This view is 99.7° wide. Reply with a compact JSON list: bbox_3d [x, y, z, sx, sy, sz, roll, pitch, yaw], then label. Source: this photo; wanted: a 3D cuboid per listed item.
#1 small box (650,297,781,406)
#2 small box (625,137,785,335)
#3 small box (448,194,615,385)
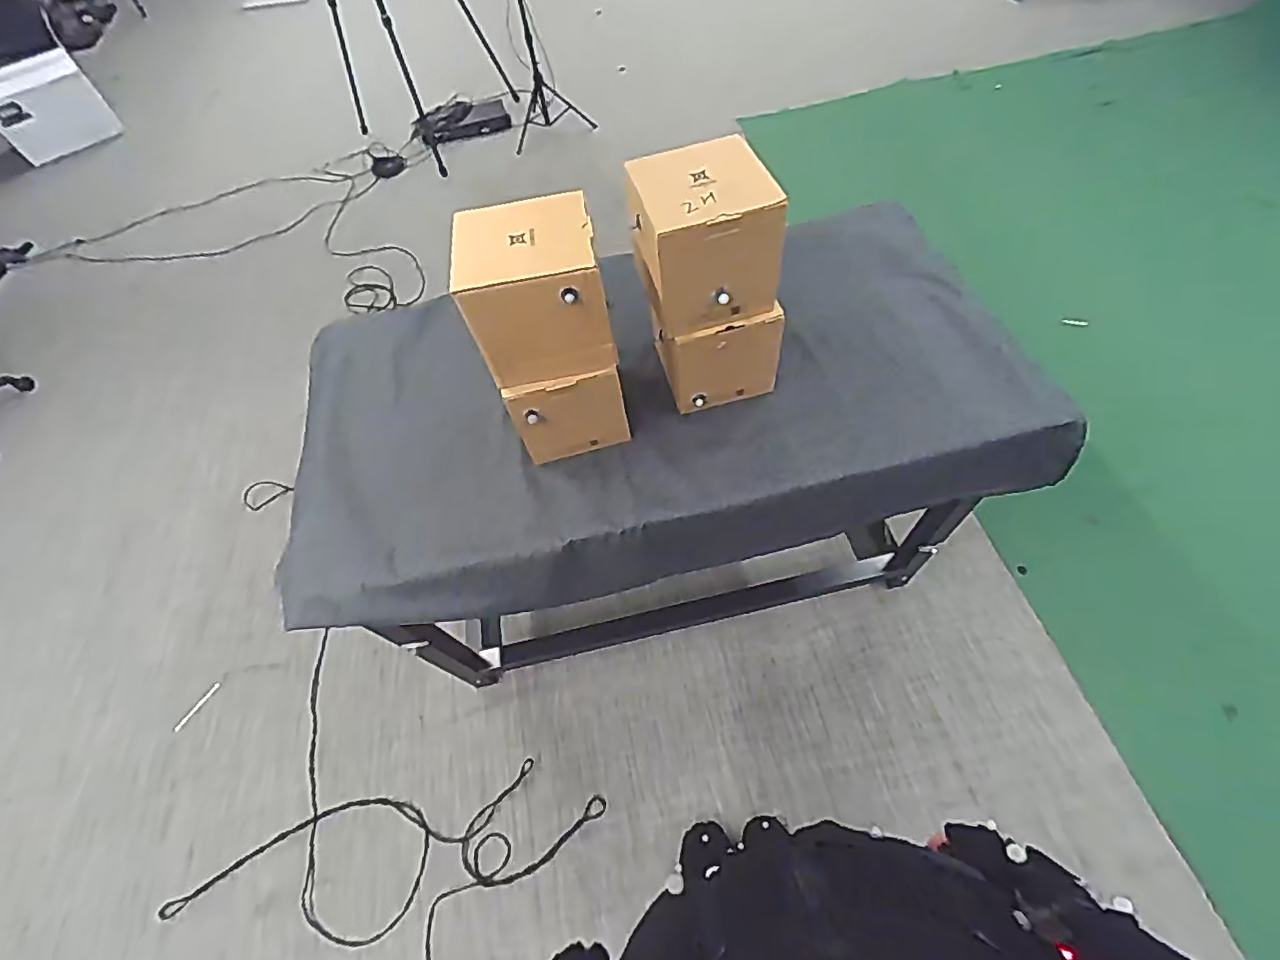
[{"bbox_3d":[0.117,-0.240,0.885,0.168,0.176,0.179,-14,57,-2],"label":"small box"},{"bbox_3d":[0.084,-0.335,0.754,0.168,0.176,0.179,-16,59,-2],"label":"small box"},{"bbox_3d":[-0.139,-0.249,0.732,0.179,0.176,0.168,-10,57,0],"label":"small box"}]
